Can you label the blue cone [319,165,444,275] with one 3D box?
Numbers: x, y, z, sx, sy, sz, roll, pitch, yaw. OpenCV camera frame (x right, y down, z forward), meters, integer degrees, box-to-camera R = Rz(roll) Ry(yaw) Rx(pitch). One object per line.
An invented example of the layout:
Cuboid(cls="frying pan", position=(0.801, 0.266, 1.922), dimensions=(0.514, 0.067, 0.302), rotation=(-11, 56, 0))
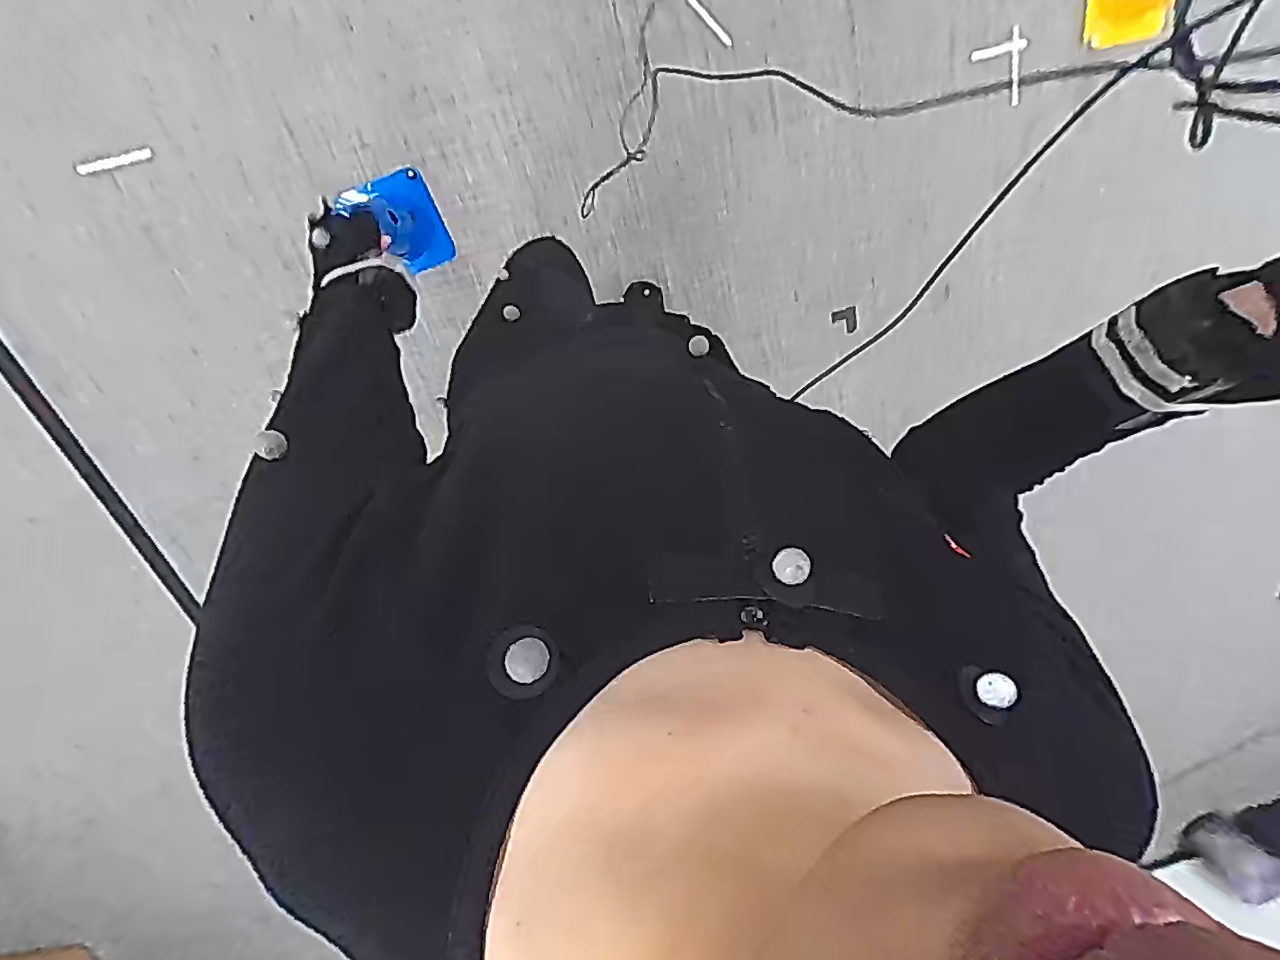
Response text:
Cuboid(cls="blue cone", position=(-0.530, -0.510, 1.056), dimensions=(0.193, 0.380, 0.192), rotation=(-20, 114, 0))
